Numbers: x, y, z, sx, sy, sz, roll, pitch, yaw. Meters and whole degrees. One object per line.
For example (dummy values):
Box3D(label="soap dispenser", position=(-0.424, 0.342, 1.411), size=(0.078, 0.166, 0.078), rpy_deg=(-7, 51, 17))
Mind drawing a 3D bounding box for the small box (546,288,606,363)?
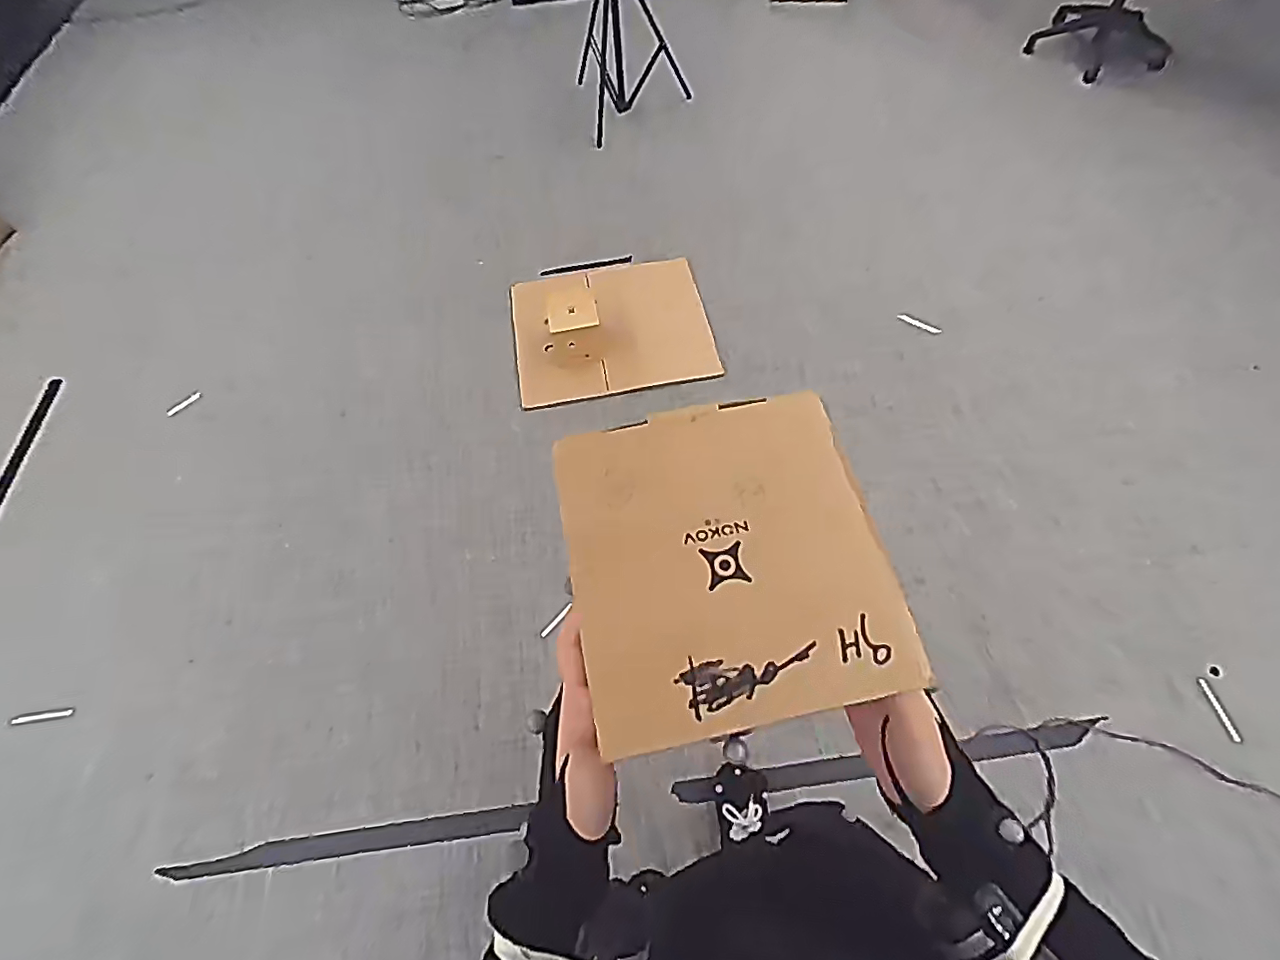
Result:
Box3D(label="small box", position=(-0.218, -0.522, 1.858), size=(0.168, 0.176, 0.179), rpy_deg=(-12, 61, -3))

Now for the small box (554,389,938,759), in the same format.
Box3D(label="small box", position=(0.049, 0.071, 0.358), size=(0.168, 0.176, 0.179), rpy_deg=(-13, 65, -2))
